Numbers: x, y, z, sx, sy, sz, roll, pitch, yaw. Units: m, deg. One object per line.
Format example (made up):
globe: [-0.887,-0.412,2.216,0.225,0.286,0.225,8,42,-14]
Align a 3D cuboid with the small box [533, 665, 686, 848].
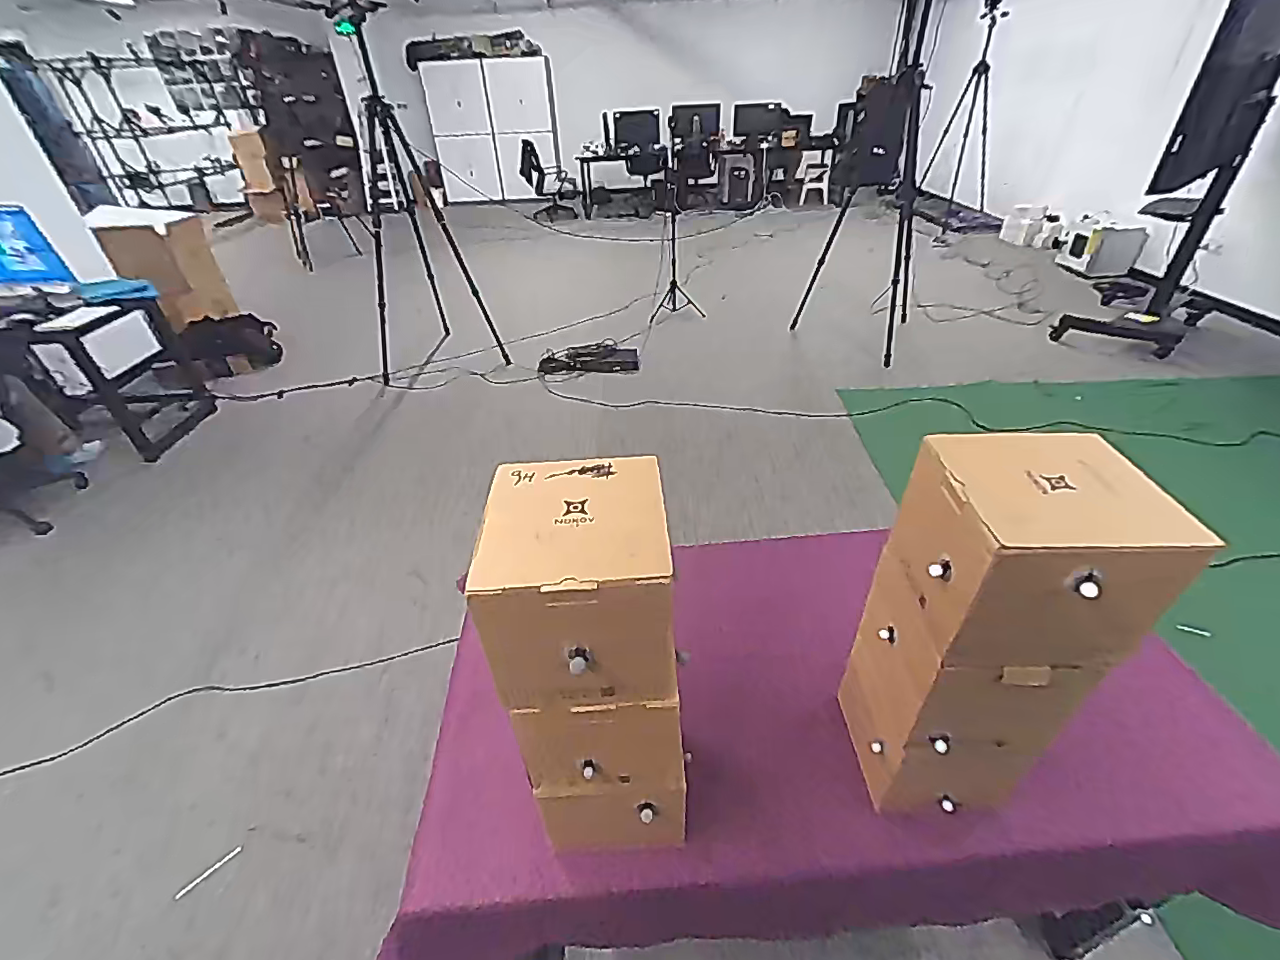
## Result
small box: [-0.033,0.366,0.722,0.179,0.176,0.168,-3,36,1]

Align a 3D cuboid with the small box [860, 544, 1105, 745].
small box: [0.379,0.193,0.641,0.168,0.176,0.179,-2,36,3]

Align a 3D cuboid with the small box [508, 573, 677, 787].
small box: [-0.044,0.230,0.633,0.168,0.176,0.179,-3,37,1]

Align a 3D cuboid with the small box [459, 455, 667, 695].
small box: [-0.061,0.096,0.538,0.168,0.176,0.179,-3,37,-1]

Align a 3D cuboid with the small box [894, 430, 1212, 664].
small box: [0.372,0.066,0.539,0.179,0.176,0.168,0,38,4]
